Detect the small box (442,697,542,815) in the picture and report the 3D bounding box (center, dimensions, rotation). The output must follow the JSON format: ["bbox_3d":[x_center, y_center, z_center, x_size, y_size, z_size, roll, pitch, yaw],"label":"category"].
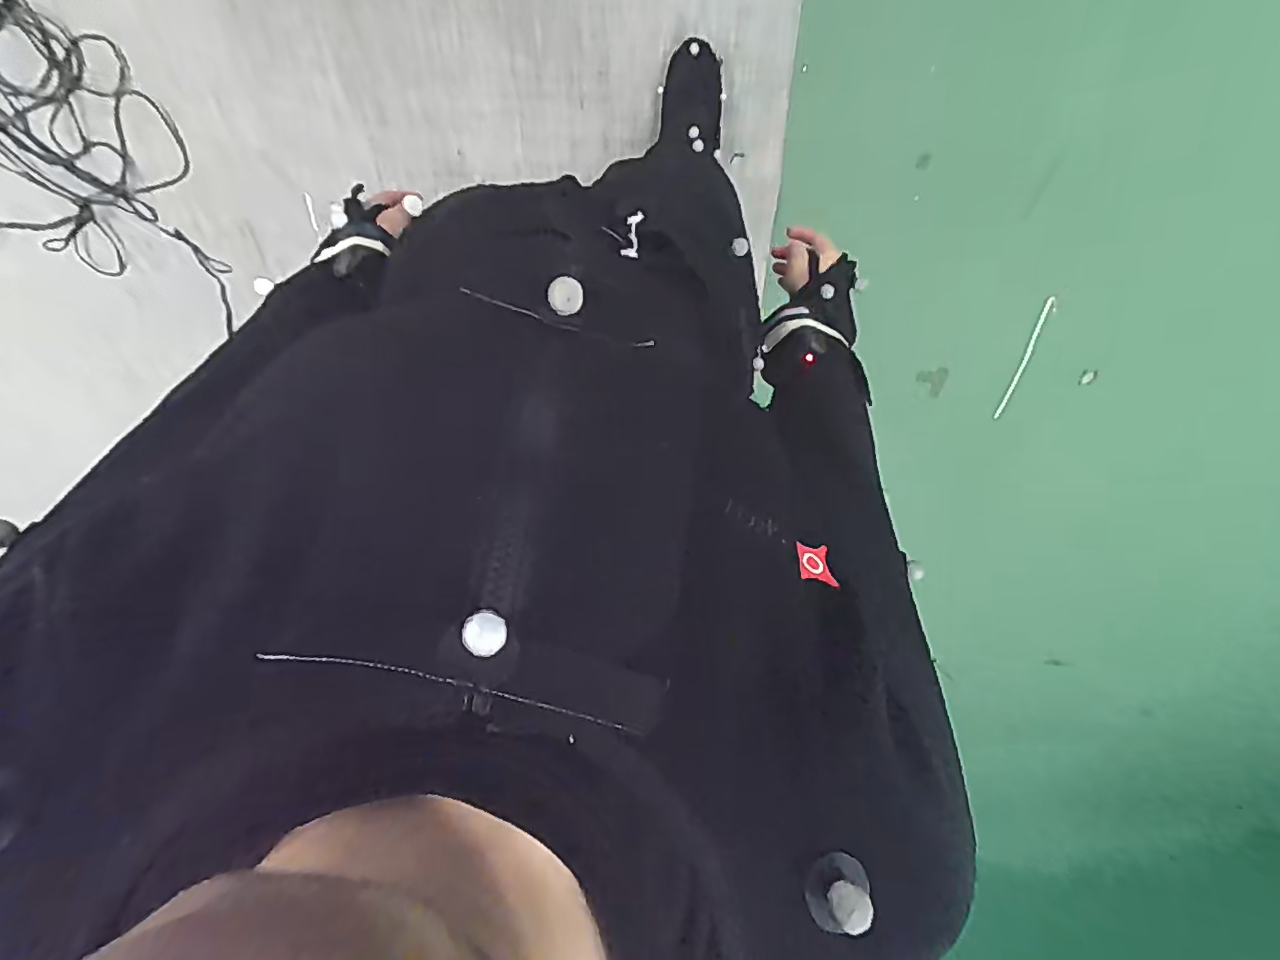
[{"bbox_3d":[-0.309,0.590,1.163,0.168,0.176,0.179,6,128,0],"label":"small box"}]
